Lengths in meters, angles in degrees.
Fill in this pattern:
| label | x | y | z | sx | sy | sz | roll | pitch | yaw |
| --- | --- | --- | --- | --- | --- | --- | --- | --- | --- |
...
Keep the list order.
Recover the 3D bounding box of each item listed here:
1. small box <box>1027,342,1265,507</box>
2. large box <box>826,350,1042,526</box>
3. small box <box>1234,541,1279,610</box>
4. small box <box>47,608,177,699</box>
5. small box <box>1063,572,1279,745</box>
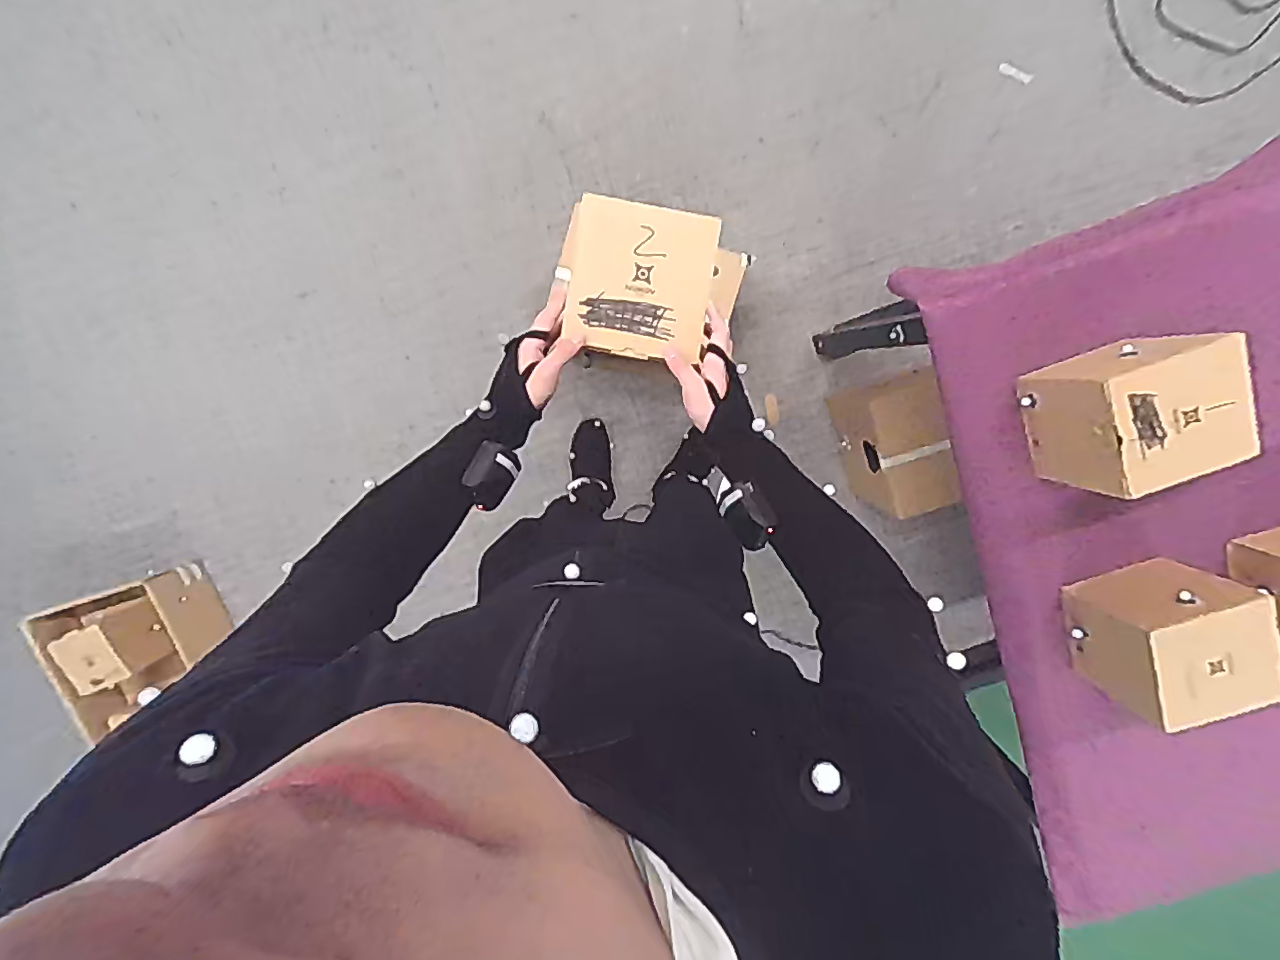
| label | x | y | z | sx | sy | sz | roll | pitch | yaw |
| --- | --- | --- | --- | --- | --- | --- | --- | --- | --- |
| small box | 0.681 | -0.080 | 0.753 | 0.179 | 0.176 | 0.168 | -20 | 101 | 2 |
| large box | 0.768 | -0.118 | 1.421 | 0.408 | 0.320 | 0.320 | -19 | 101 | 3 |
| small box | 1.063 | 0.184 | 0.805 | 0.179 | 0.176 | 0.168 | -16 | 101 | 5 |
| small box | -1.522 | 0.493 | 1.571 | 0.168 | 0.176 | 0.179 | -22 | 100 | 4 |
| small box | 0.798 | 0.257 | 0.819 | 0.179 | 0.176 | 0.168 | -17 | 100 | 3 |
